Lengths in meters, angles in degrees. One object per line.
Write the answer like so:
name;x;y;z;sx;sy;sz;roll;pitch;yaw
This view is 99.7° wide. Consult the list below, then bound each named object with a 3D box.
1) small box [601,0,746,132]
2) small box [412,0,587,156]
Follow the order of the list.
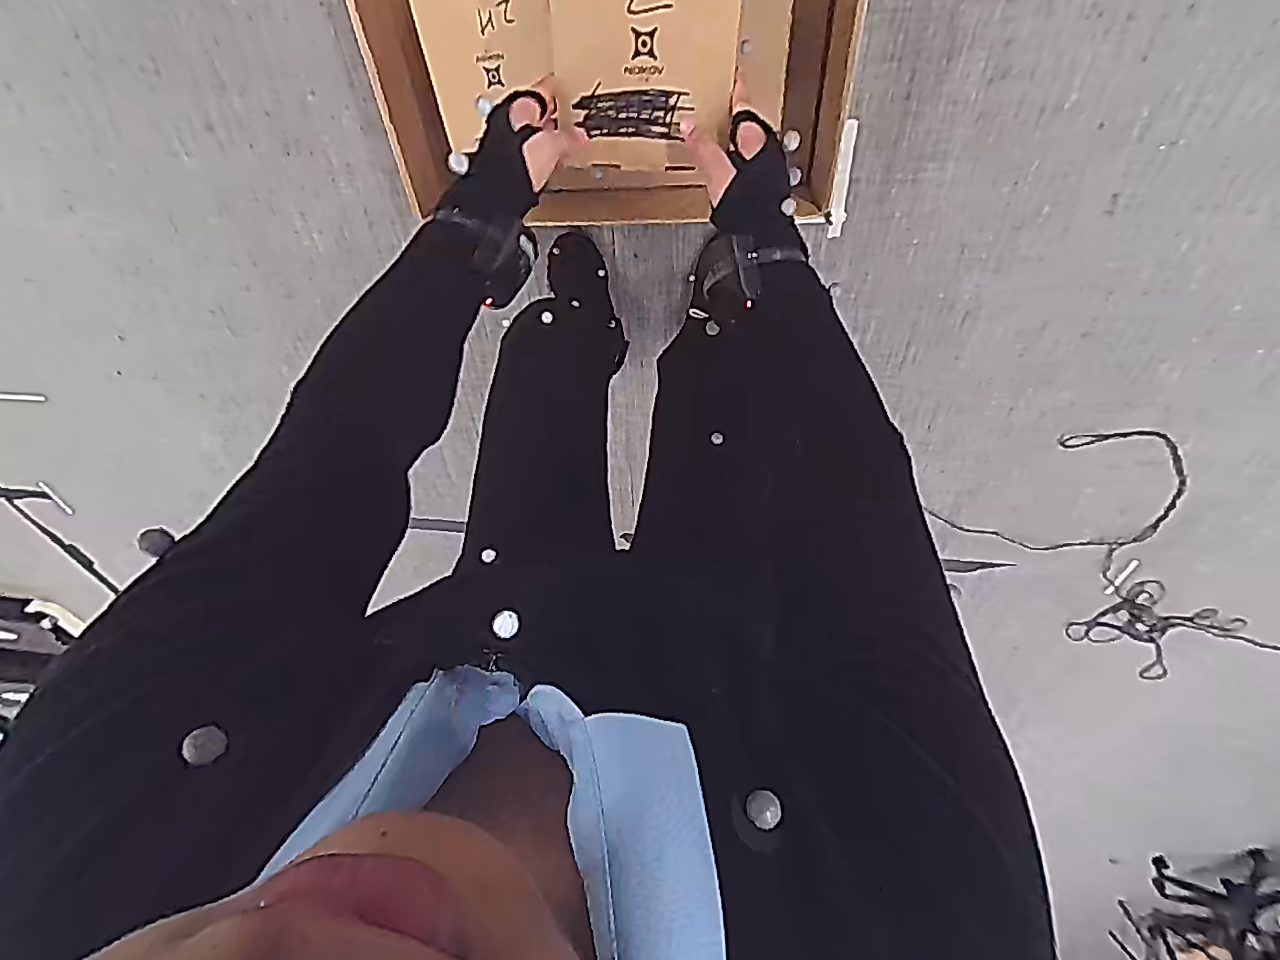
small box;0.044;-0.564;0.687;0.168;0.176;0.179;6;133;4
small box;-0.171;-0.556;0.723;0.168;0.176;0.179;-1;132;6
